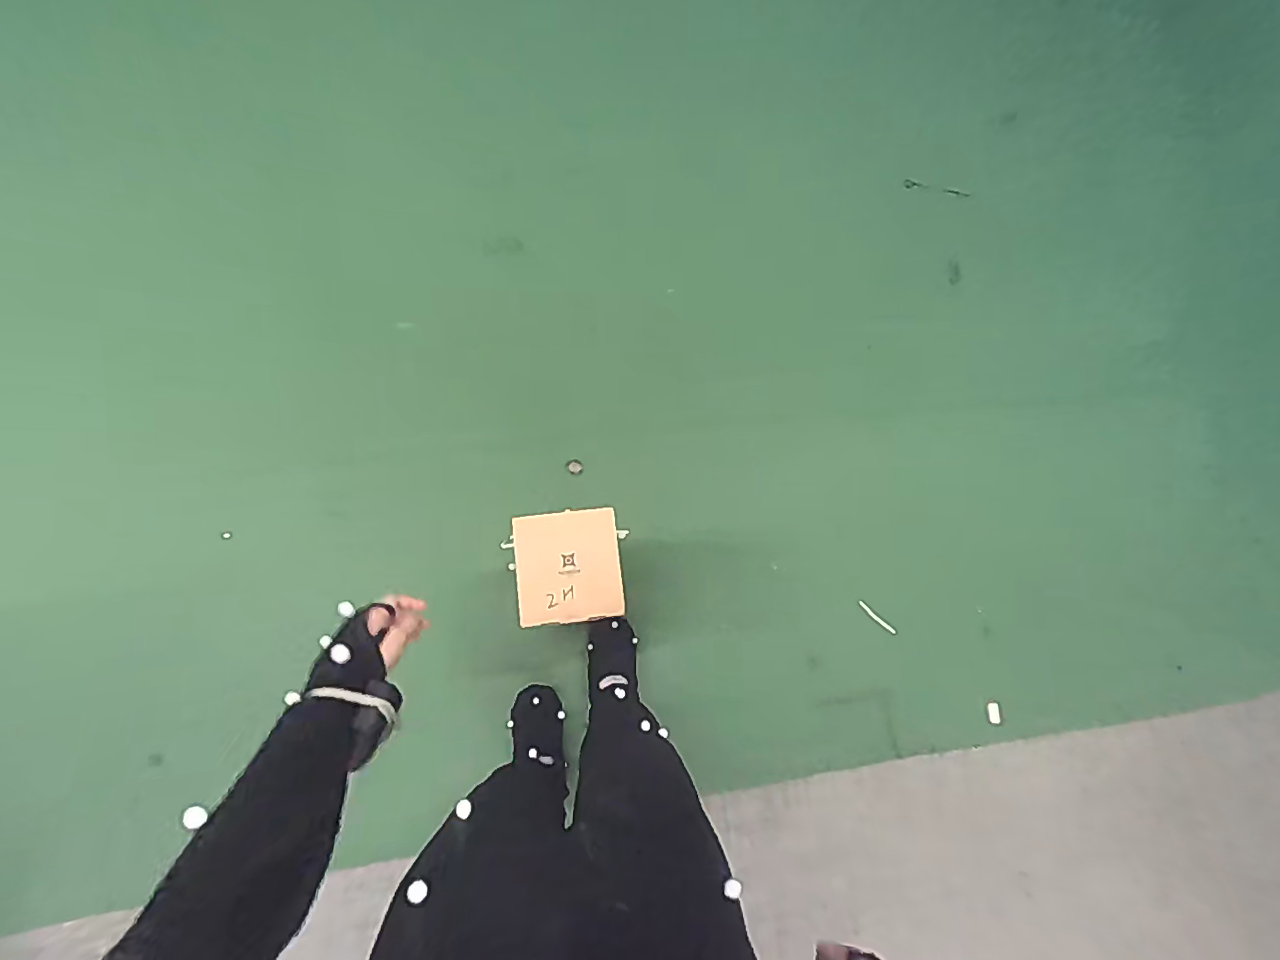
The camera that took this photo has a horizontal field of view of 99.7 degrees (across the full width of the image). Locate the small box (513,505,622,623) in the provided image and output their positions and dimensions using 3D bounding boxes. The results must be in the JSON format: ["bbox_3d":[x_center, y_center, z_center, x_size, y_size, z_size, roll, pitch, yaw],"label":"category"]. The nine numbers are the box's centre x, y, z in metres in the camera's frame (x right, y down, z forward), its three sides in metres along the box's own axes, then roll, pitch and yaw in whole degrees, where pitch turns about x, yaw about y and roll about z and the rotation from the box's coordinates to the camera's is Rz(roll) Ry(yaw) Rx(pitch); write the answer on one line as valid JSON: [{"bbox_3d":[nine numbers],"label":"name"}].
[{"bbox_3d":[-0.125,0.146,0.926,0.168,0.176,0.179,-4,79,-8],"label":"small box"}]
